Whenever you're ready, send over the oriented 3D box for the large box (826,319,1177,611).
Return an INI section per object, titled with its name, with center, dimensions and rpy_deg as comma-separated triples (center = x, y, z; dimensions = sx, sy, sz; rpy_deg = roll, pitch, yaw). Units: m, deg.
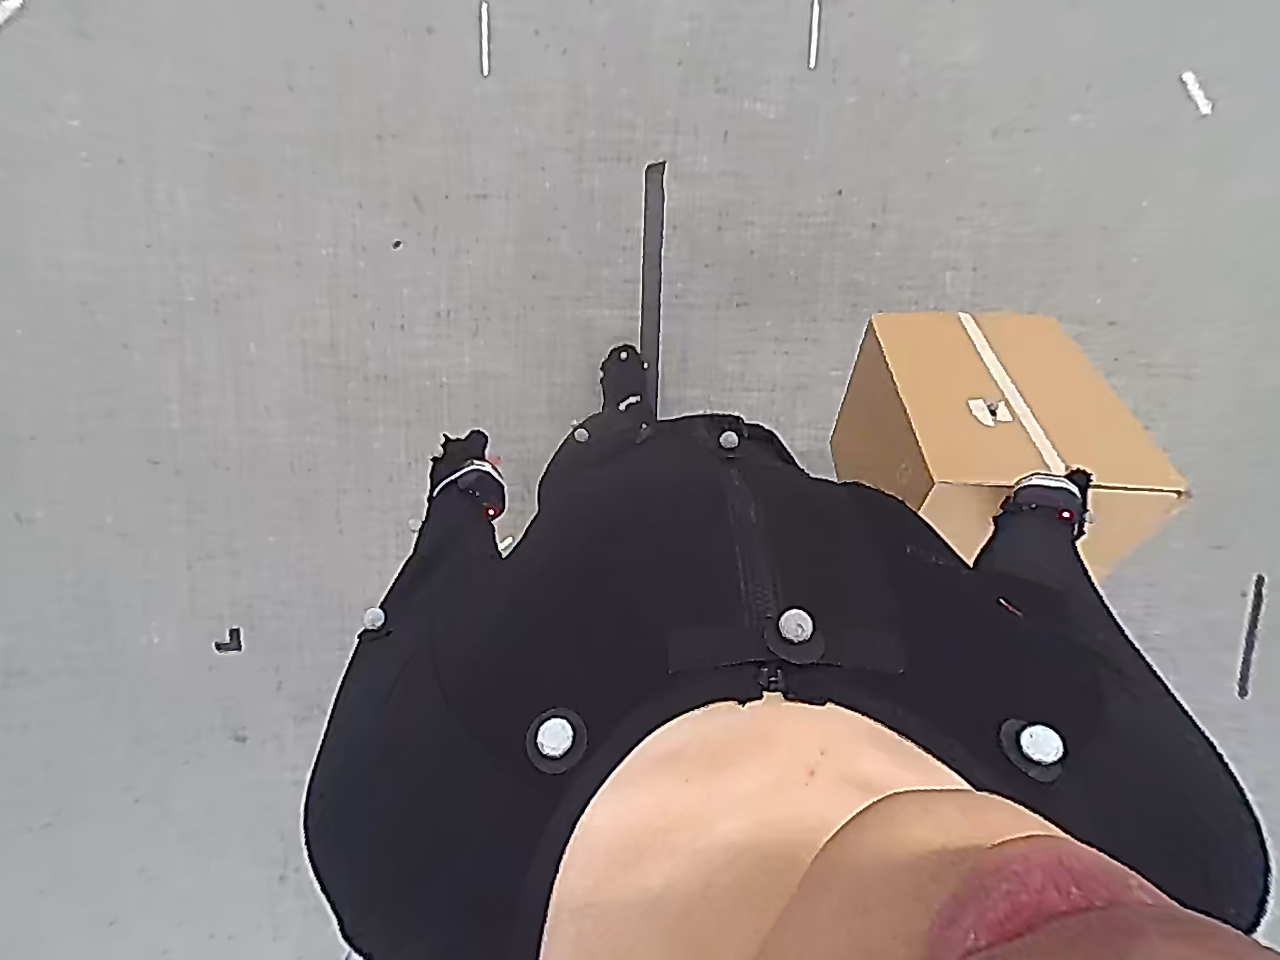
[large box]
center = 0.545, -0.032, 0.936
dimensions = 0.320, 0.408, 0.320
rpy_deg = 2, 138, 3
